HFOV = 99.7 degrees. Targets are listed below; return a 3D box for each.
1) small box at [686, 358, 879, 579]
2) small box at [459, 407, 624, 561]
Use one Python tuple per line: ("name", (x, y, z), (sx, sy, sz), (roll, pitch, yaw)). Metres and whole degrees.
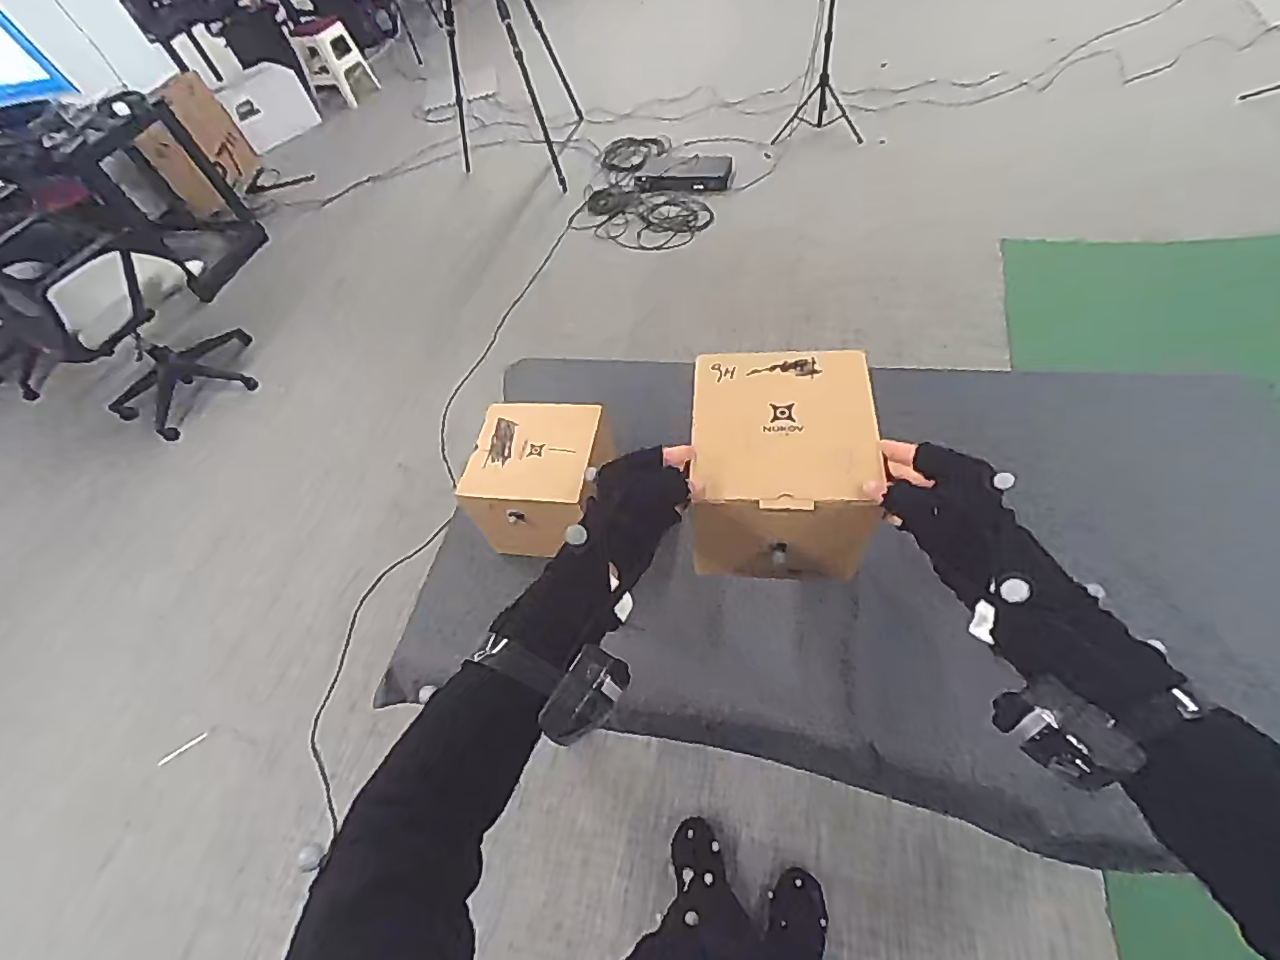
("small box", (0.142, -0.006, 0.572), (0.168, 0.176, 0.179), (1, 58, 10))
("small box", (-0.133, 0.009, 0.809), (0.179, 0.176, 0.168), (3, 56, 12))
